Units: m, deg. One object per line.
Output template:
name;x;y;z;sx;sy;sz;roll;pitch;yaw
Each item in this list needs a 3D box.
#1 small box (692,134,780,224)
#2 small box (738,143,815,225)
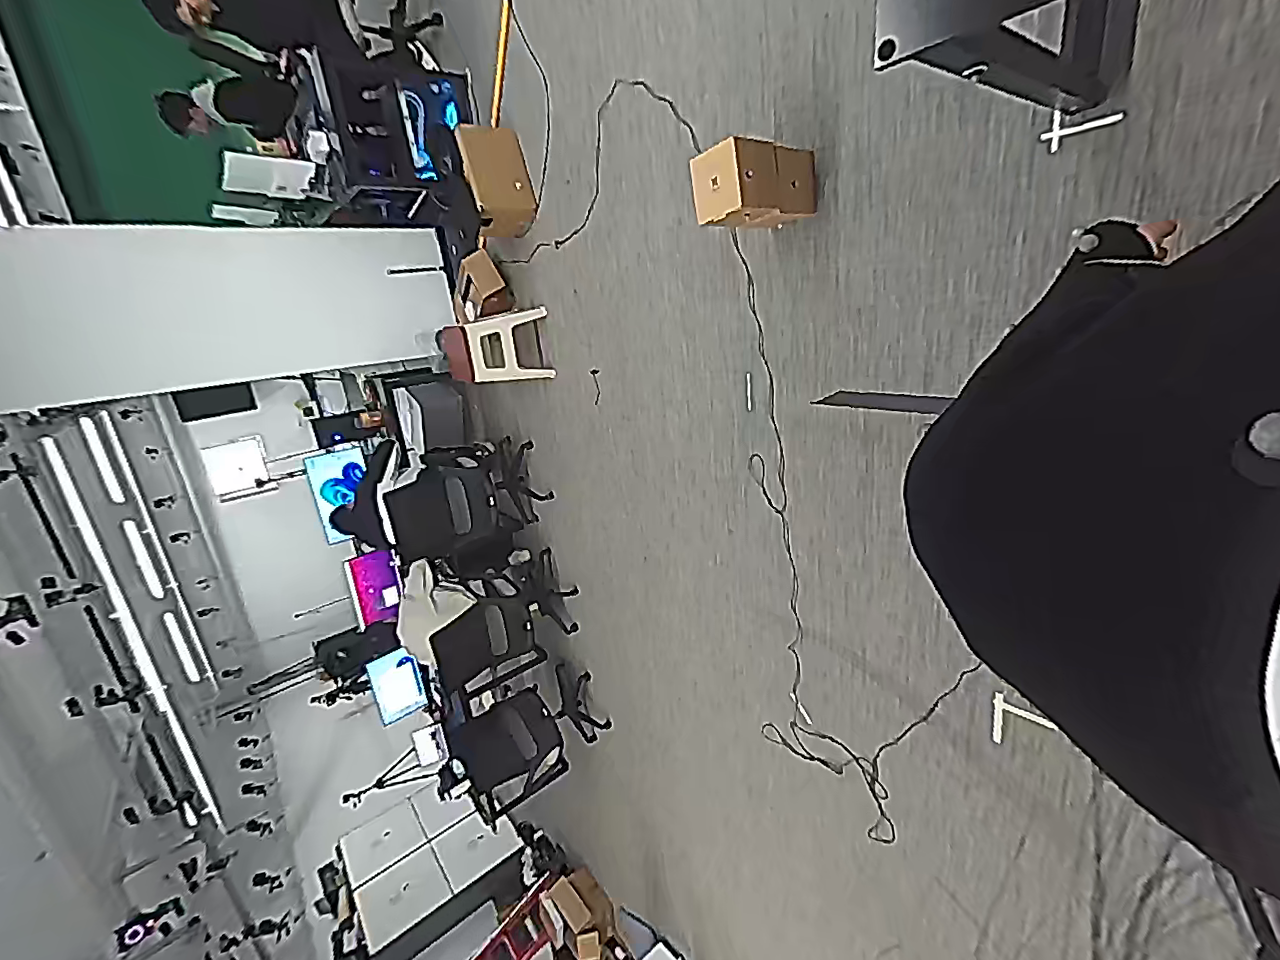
small box;0.269;-0.825;1.498;0.168;0.176;0.179;5;109;52
small box;0.398;-0.863;1.591;0.168;0.176;0.179;11;115;51
